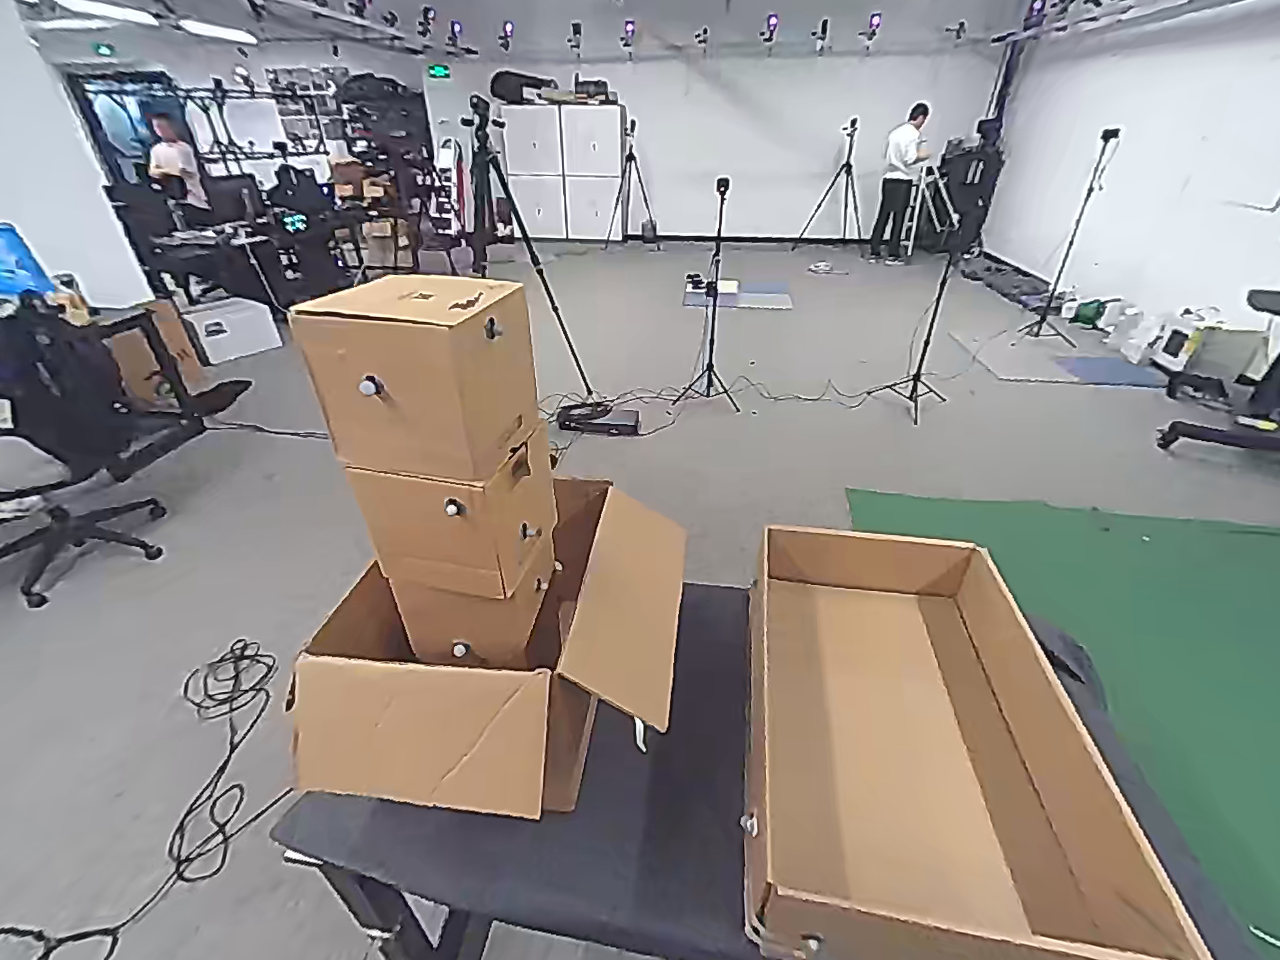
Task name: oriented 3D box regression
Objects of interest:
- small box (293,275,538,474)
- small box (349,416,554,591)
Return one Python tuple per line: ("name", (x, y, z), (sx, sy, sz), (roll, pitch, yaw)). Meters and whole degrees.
("small box", (-0.229, -0.121, 0.603), (0.179, 0.176, 0.168), (7, 35, 10))
("small box", (-0.222, 0.019, 0.689), (0.179, 0.176, 0.168), (8, 35, 11))
